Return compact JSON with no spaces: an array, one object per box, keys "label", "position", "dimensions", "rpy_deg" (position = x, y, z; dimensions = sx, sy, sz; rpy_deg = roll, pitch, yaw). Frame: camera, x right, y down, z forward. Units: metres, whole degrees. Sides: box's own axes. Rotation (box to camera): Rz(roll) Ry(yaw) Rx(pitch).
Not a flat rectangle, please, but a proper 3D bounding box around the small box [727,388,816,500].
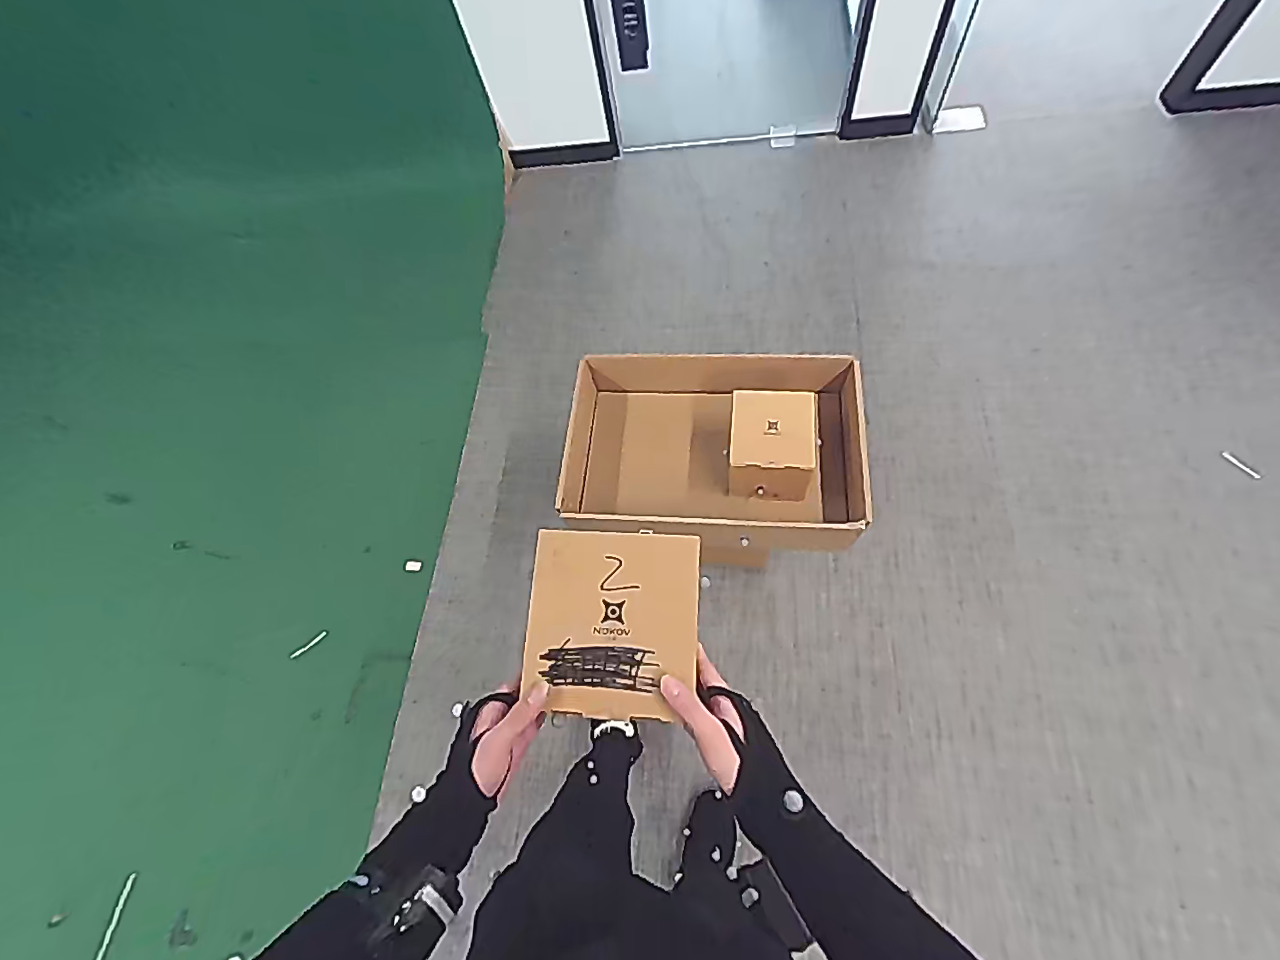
[{"label":"small box","position":[0.274,-0.074,1.148],"dimensions":[0.168,0.176,0.179],"rpy_deg":[3,67,8]}]
